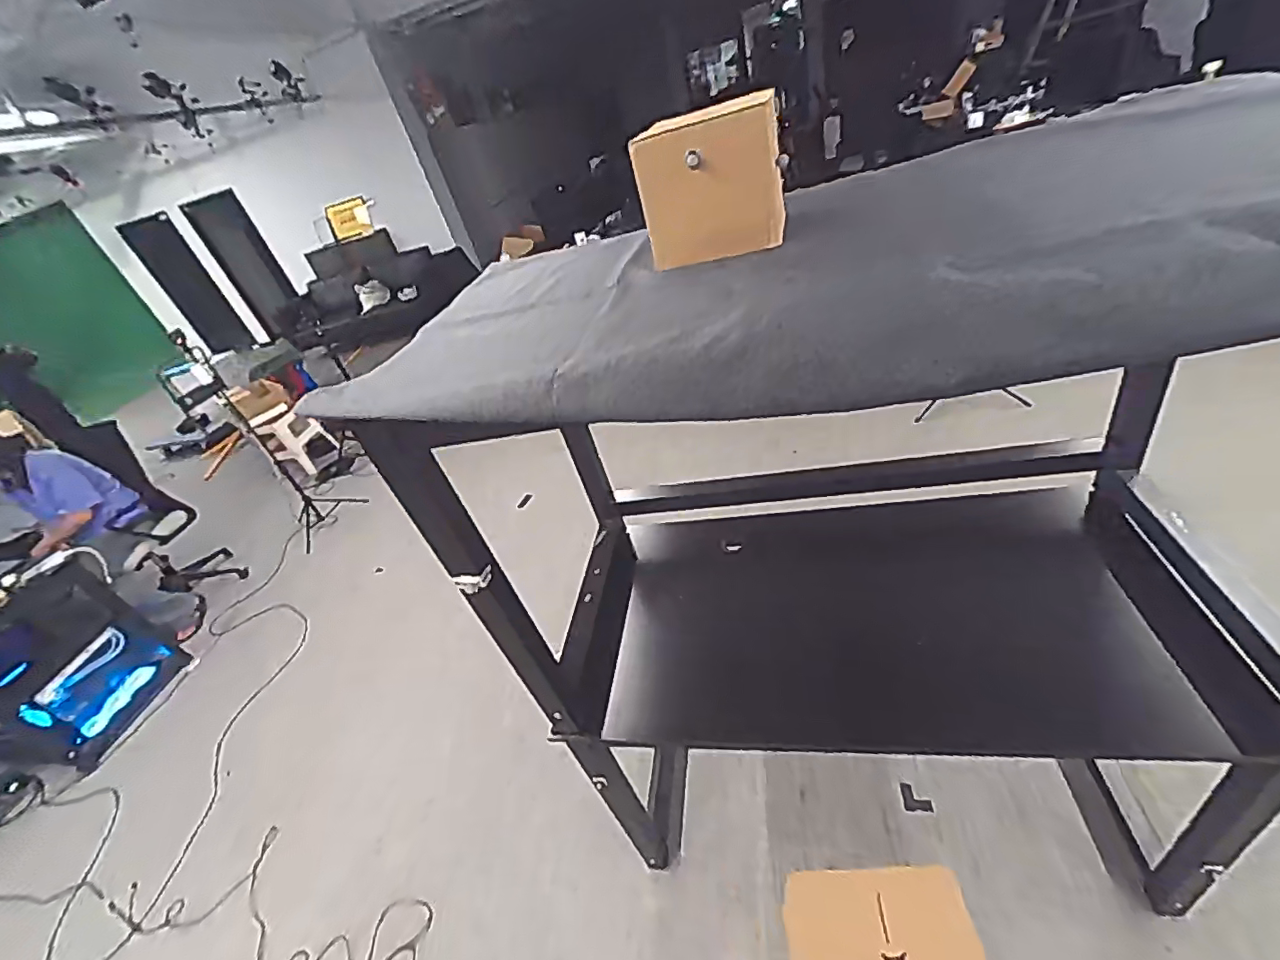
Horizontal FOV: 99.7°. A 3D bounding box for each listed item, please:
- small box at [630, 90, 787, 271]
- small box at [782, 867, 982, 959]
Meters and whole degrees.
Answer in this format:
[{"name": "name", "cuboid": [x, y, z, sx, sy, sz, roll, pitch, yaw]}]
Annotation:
[{"name": "small box", "cuboid": [0.108, -0.414, 0.756, 0.179, 0.176, 0.168, -4, 37, 21]}, {"name": "small box", "cuboid": [0.242, 0.516, 0.542, 0.168, 0.176, 0.179, -5, 40, 4]}]
